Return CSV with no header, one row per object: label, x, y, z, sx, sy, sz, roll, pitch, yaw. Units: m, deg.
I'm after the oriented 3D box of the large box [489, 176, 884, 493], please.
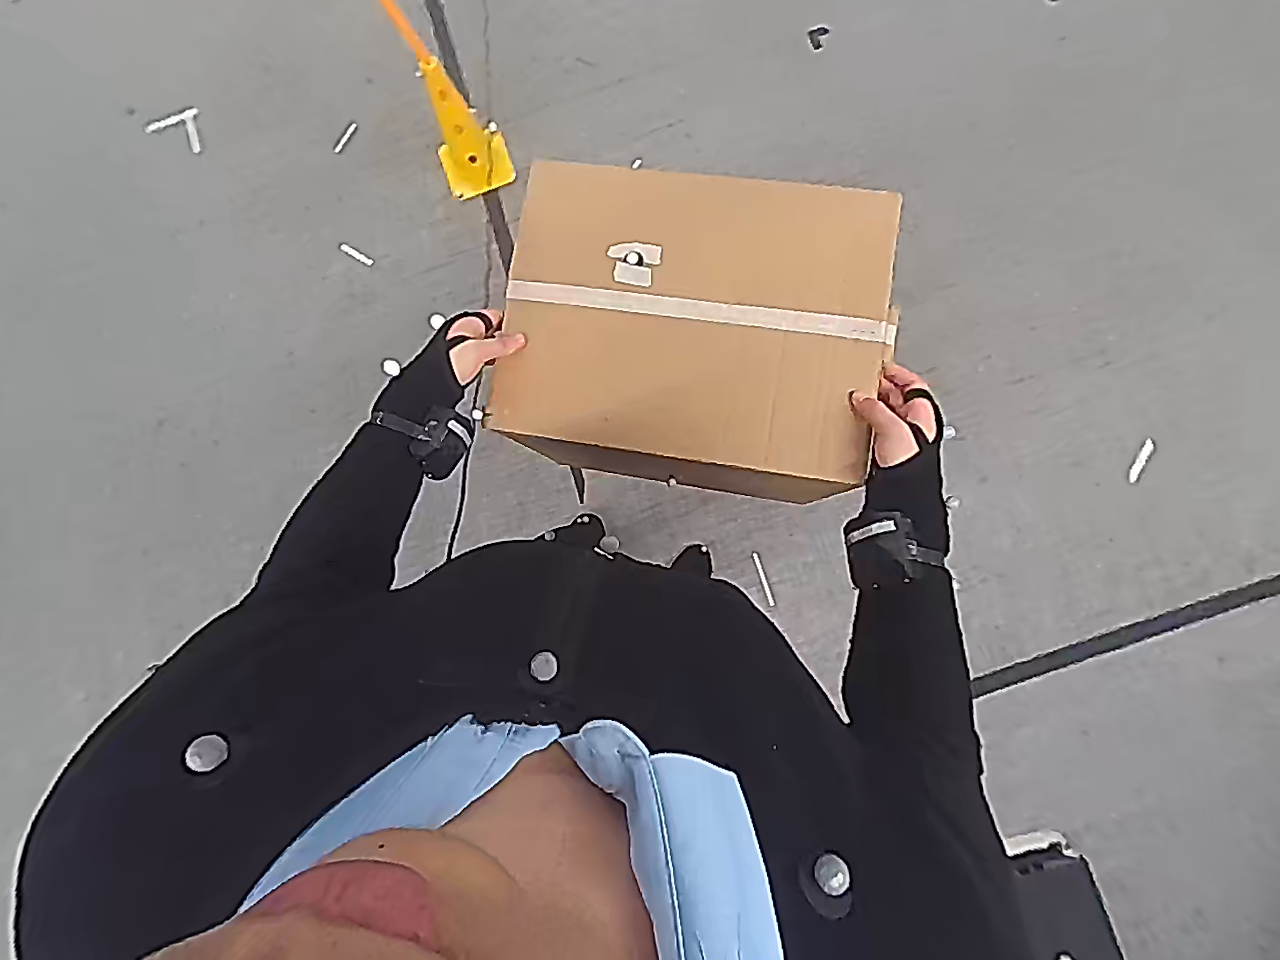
large box,0.067,-0.164,0.732,0.408,0.320,0.320,8,84,8
